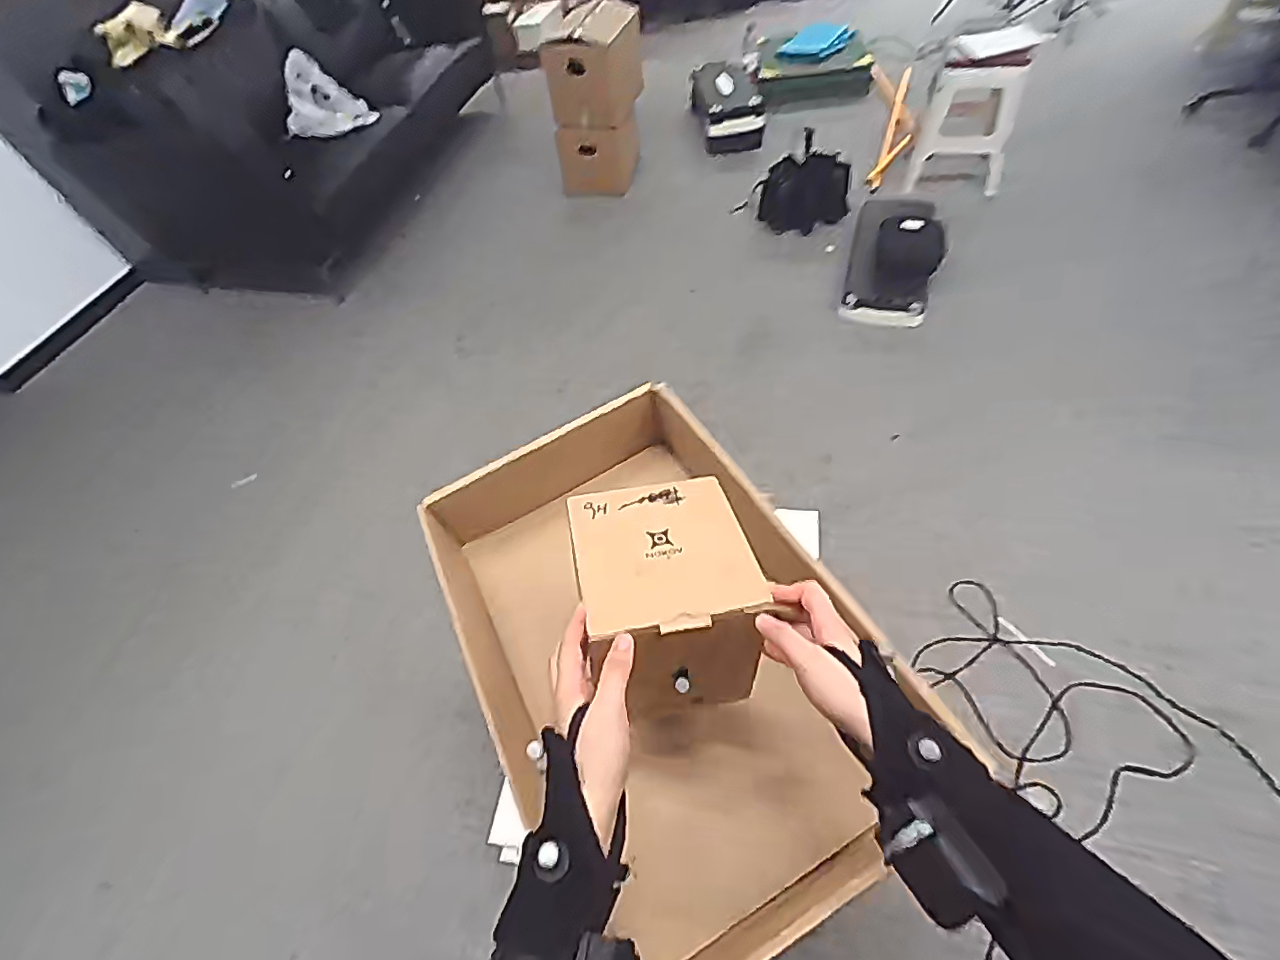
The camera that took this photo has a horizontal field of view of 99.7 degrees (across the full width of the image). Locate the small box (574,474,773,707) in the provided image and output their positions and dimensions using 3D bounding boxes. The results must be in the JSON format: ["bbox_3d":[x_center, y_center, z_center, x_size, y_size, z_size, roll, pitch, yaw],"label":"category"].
[{"bbox_3d":[0.025,0.121,0.573,0.168,0.176,0.179,-7,43,-7],"label":"small box"}]
